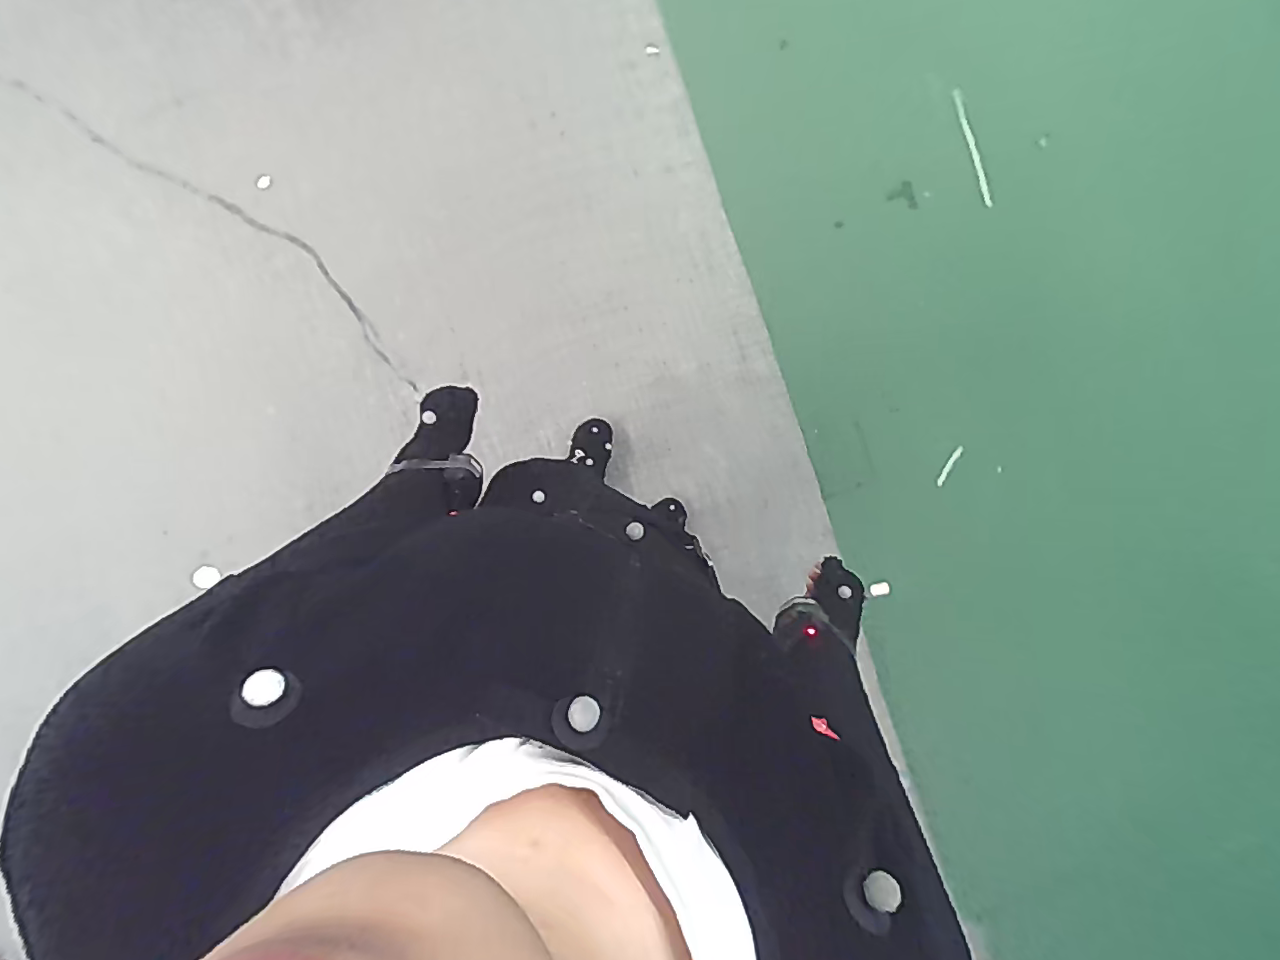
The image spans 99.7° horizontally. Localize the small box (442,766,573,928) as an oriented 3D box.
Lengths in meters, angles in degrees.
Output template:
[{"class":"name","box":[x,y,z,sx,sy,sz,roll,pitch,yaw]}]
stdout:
[{"class":"small box","box":[-0.234,0.658,0.996,0.168,0.176,0.179,-16,92,4]}]
